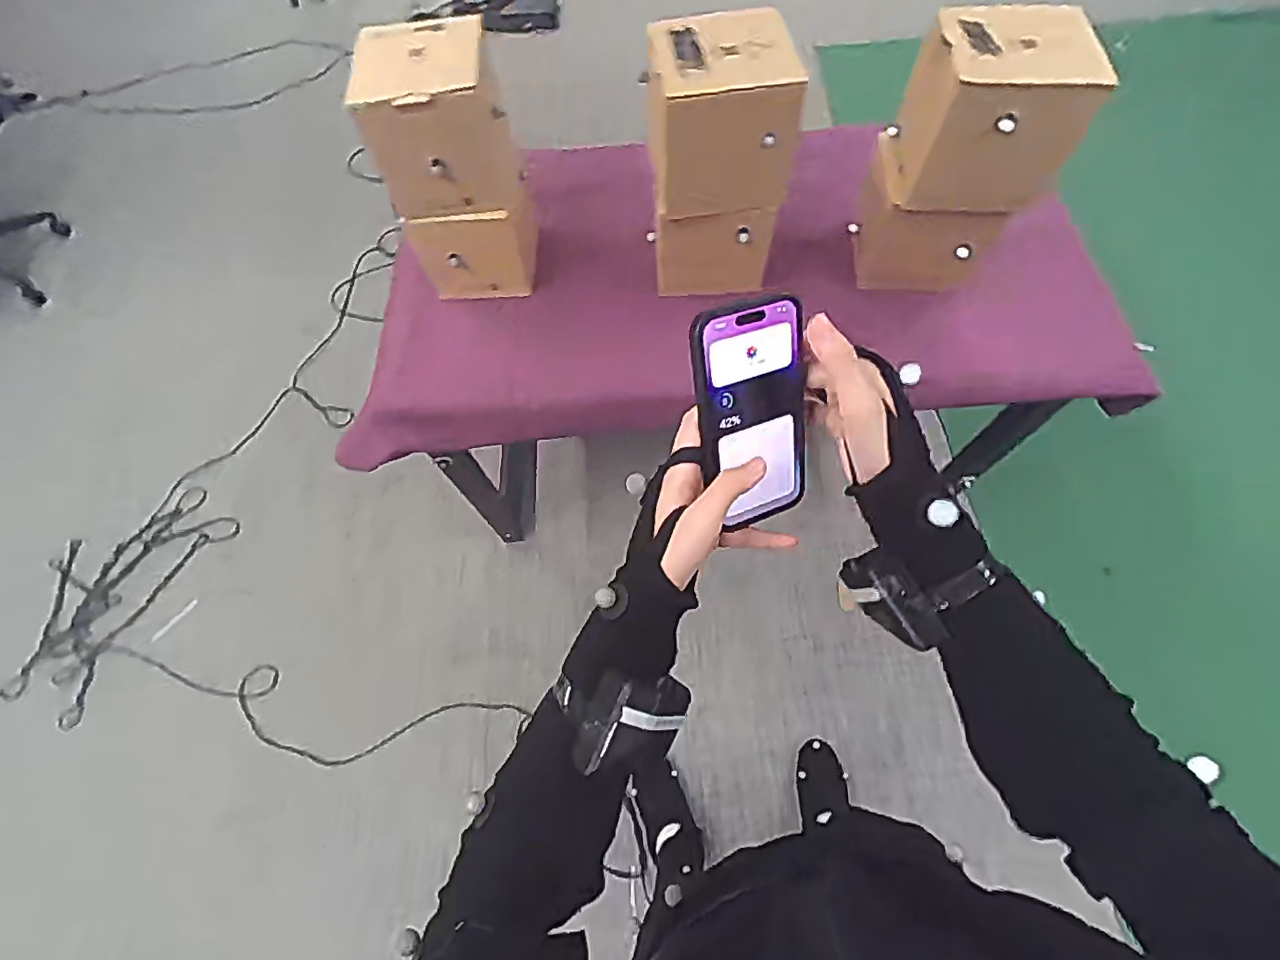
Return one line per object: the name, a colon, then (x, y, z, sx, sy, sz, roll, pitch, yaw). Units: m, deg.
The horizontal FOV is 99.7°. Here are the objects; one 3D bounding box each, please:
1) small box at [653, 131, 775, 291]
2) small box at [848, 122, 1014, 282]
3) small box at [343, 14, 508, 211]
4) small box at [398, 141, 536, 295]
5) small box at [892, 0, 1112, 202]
small box: (0.111, -0.433, 0.887, 0.179, 0.176, 0.168, -3, 65, 3)
small box: (0.451, -0.437, 0.866, 0.179, 0.176, 0.168, 3, 65, 6)
small box: (-0.290, -0.509, 0.769, 0.168, 0.176, 0.179, -7, 65, 0)
small box: (-0.279, -0.432, 0.914, 0.168, 0.176, 0.179, -2, 65, 3)
small box: (0.450, -0.493, 0.712, 0.179, 0.176, 0.168, 3, 65, 5)
